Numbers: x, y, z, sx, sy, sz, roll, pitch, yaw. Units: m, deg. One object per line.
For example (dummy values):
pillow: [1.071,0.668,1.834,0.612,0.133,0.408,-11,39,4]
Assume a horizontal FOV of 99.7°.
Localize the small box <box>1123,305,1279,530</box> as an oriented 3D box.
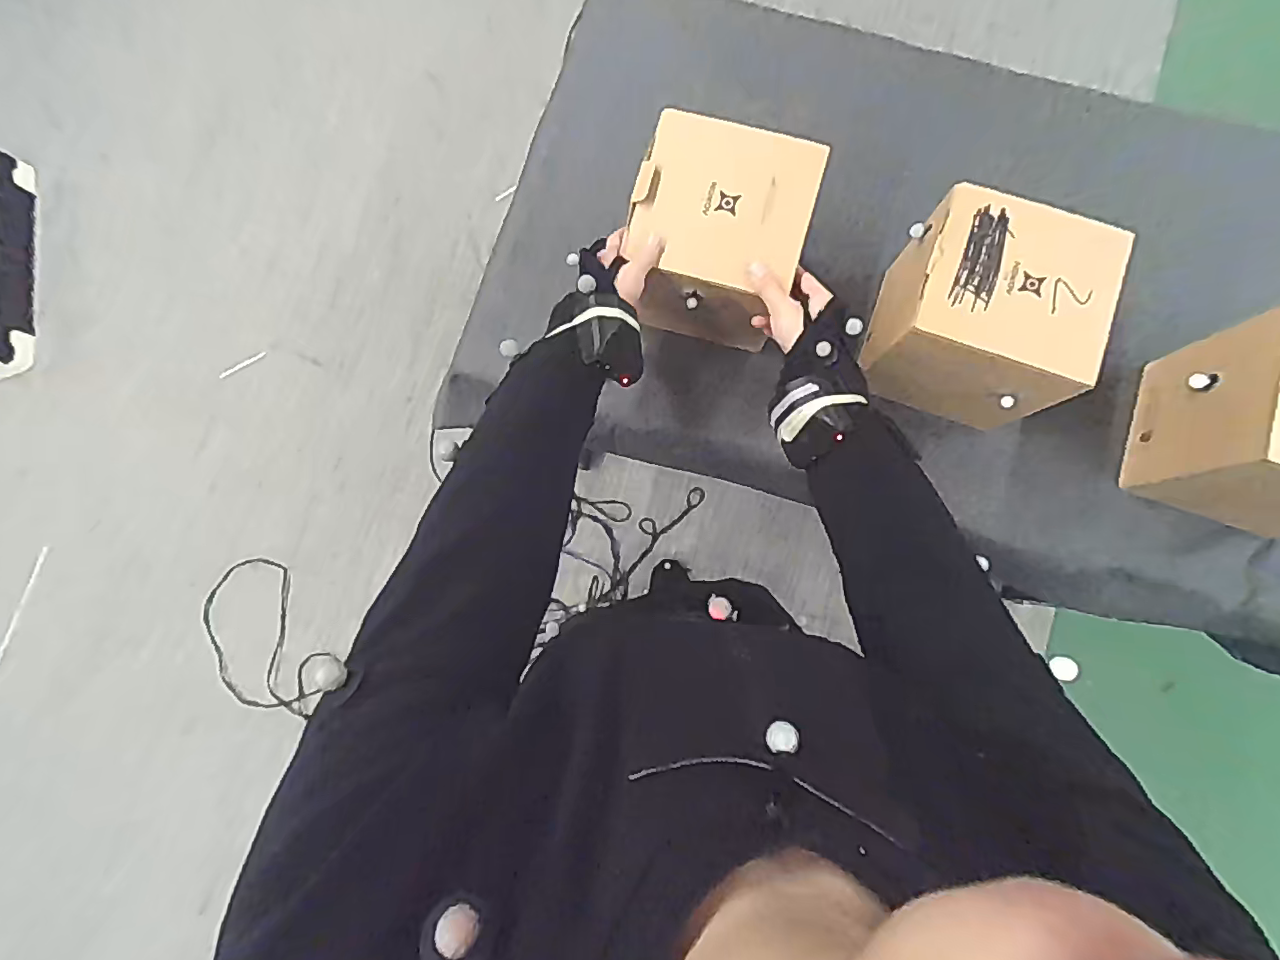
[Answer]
small box: [0.664,-0.052,0.559,0.179,0.176,0.168,19,82,5]
